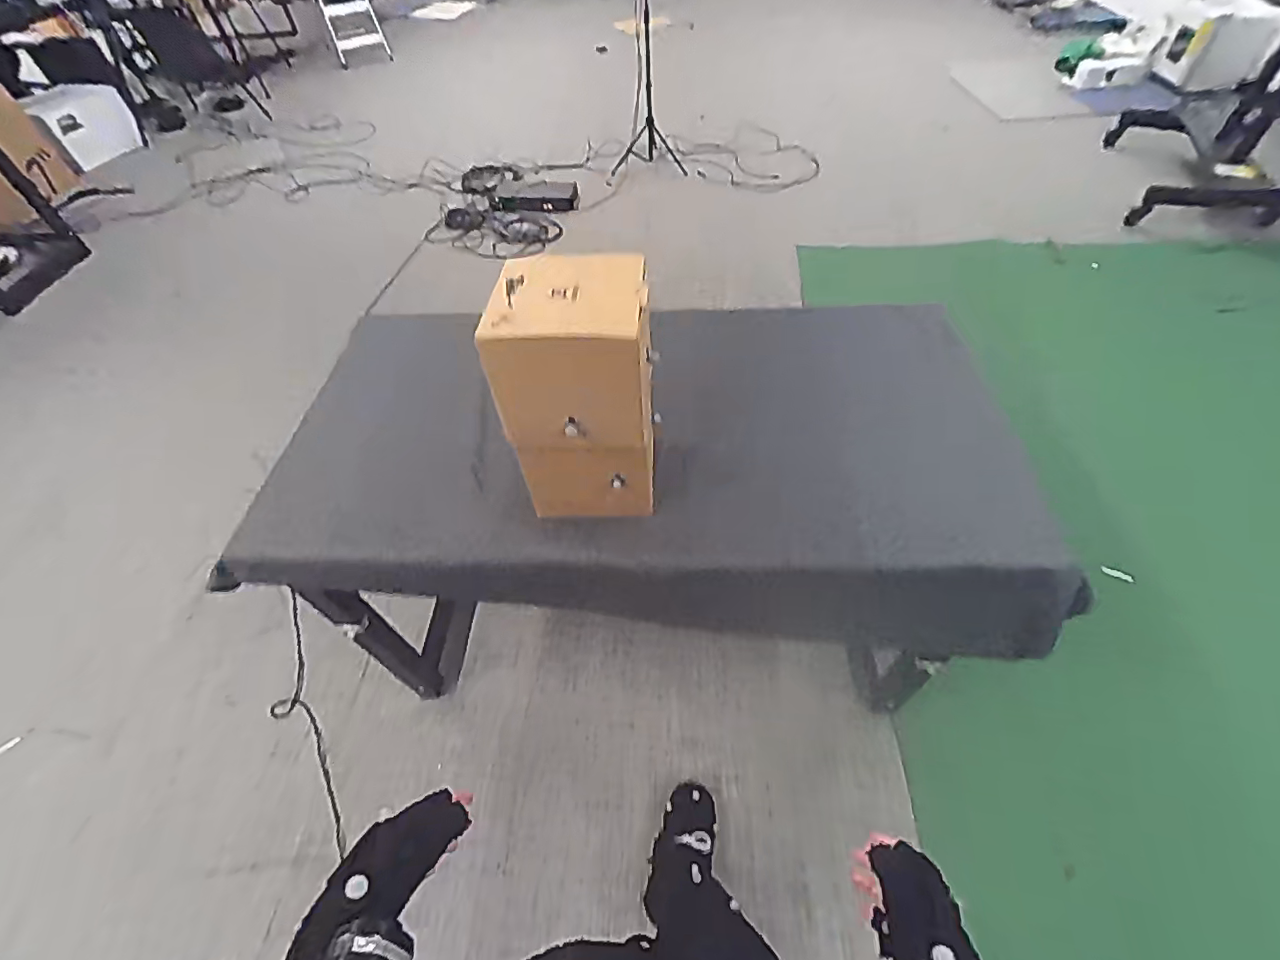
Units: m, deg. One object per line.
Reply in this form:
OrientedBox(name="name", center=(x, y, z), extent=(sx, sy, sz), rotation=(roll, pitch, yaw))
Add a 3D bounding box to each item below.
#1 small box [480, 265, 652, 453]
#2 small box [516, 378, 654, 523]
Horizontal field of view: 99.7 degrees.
OrientedBox(name="small box", center=(-0.076, -0.147, 0.678), extent=(0.179, 0.176, 0.168), rotation=(2, 49, 4))
OrientedBox(name="small box", center=(-0.068, -0.048, 0.808), extent=(0.179, 0.176, 0.168), rotation=(-2, 49, 4))
